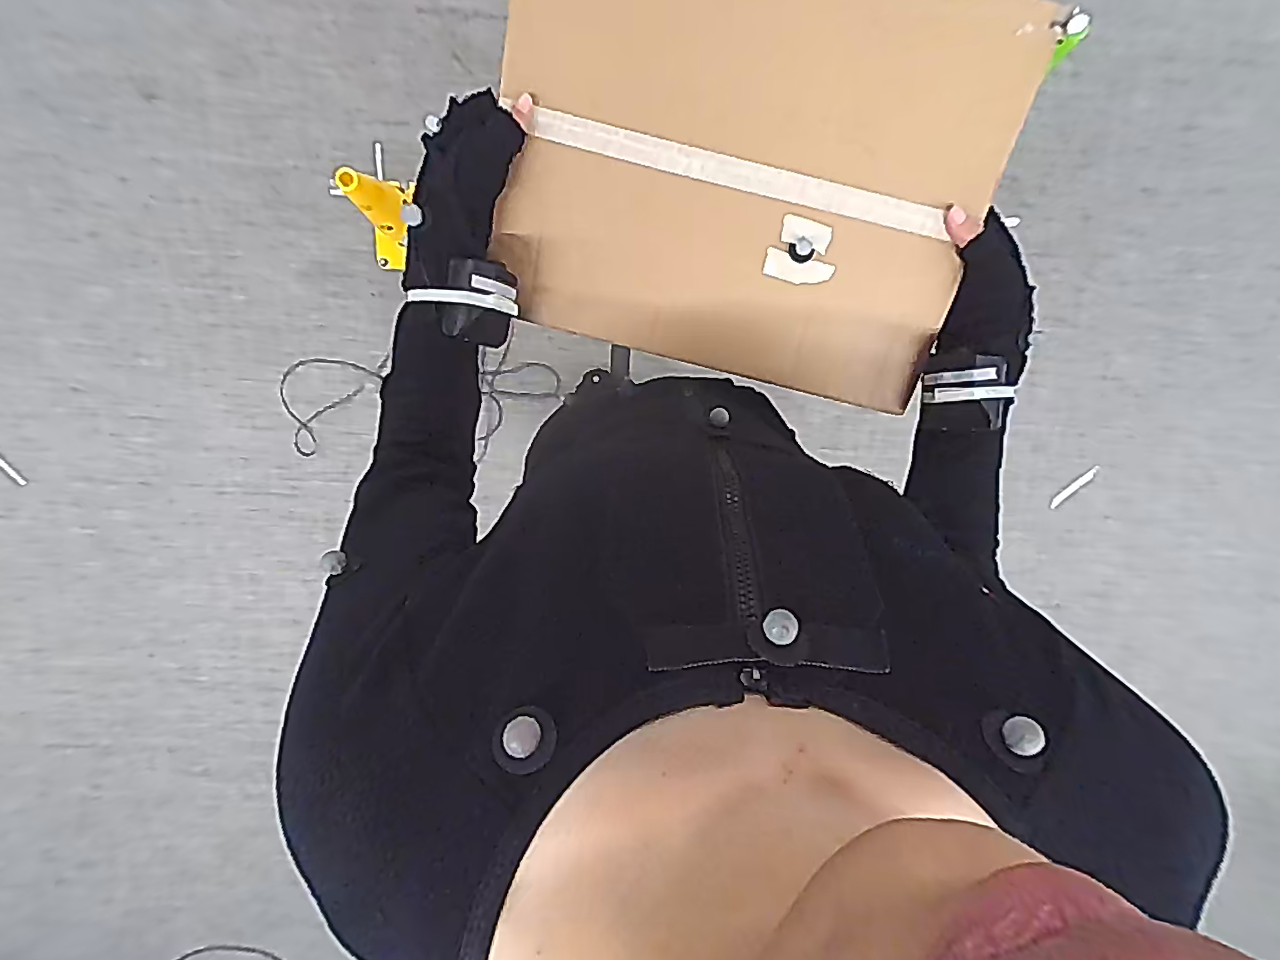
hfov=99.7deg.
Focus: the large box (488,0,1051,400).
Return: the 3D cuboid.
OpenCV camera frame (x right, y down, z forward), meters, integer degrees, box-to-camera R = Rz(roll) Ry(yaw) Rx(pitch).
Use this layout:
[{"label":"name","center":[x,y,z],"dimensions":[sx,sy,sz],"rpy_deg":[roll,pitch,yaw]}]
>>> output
[{"label":"large box","center":[0.091,-0.304,0.589],"dimensions":[0.408,0.320,0.320],"rpy_deg":[14,110,-2]}]
